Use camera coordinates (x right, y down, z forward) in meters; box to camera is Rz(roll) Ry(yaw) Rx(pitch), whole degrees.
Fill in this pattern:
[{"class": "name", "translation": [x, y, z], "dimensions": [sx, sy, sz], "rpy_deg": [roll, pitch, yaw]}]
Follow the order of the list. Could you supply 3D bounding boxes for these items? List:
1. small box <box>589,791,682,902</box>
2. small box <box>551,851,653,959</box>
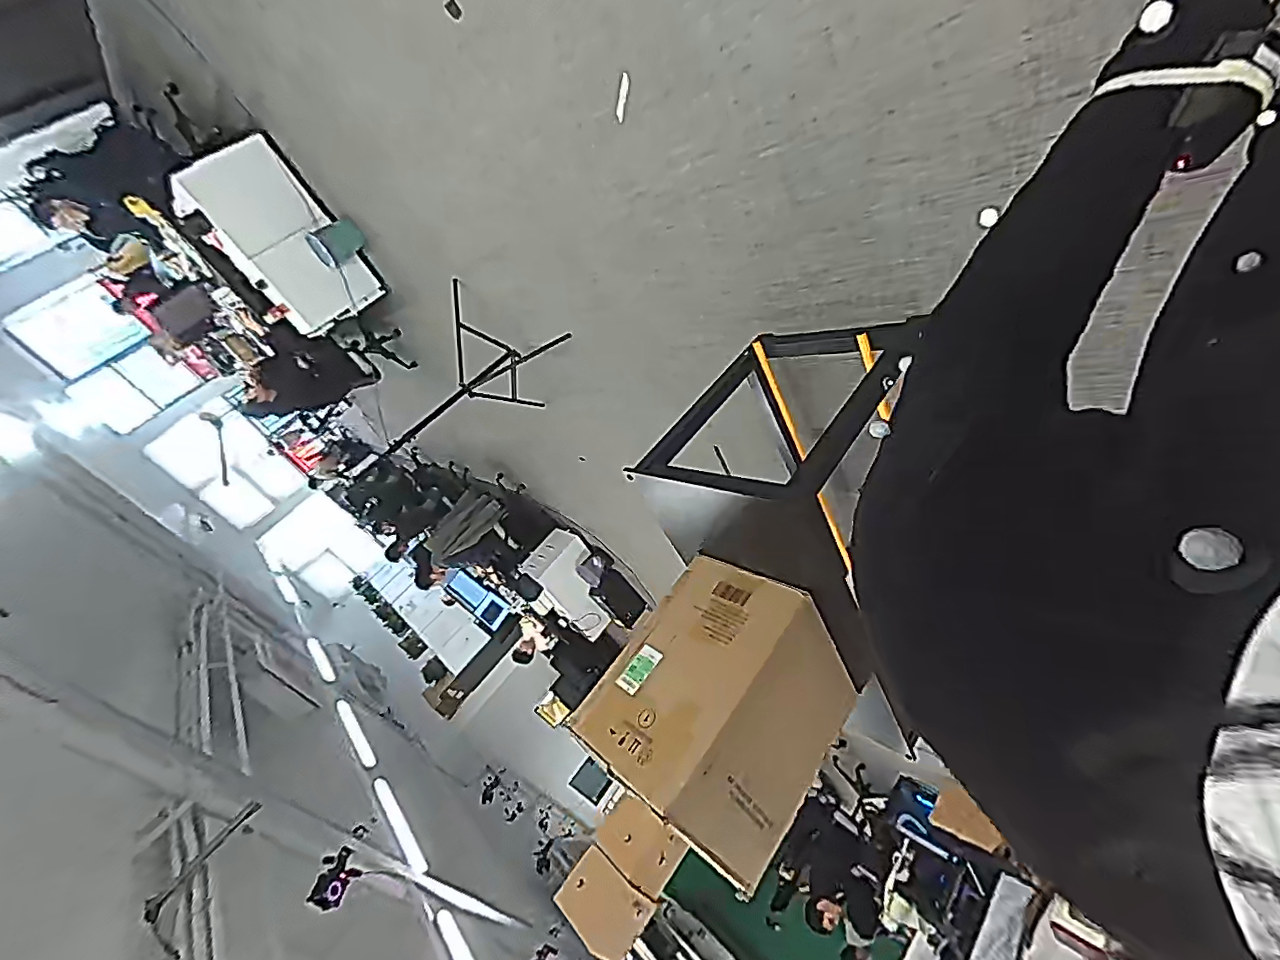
[{"class": "small box", "translation": [-0.003, 1.022, 1.520], "dimensions": [0.179, 0.176, 0.168], "rpy_deg": [13, 142, 49]}, {"class": "small box", "translation": [-0.097, 1.132, 1.443], "dimensions": [0.179, 0.176, 0.168], "rpy_deg": [14, 145, 48]}]
